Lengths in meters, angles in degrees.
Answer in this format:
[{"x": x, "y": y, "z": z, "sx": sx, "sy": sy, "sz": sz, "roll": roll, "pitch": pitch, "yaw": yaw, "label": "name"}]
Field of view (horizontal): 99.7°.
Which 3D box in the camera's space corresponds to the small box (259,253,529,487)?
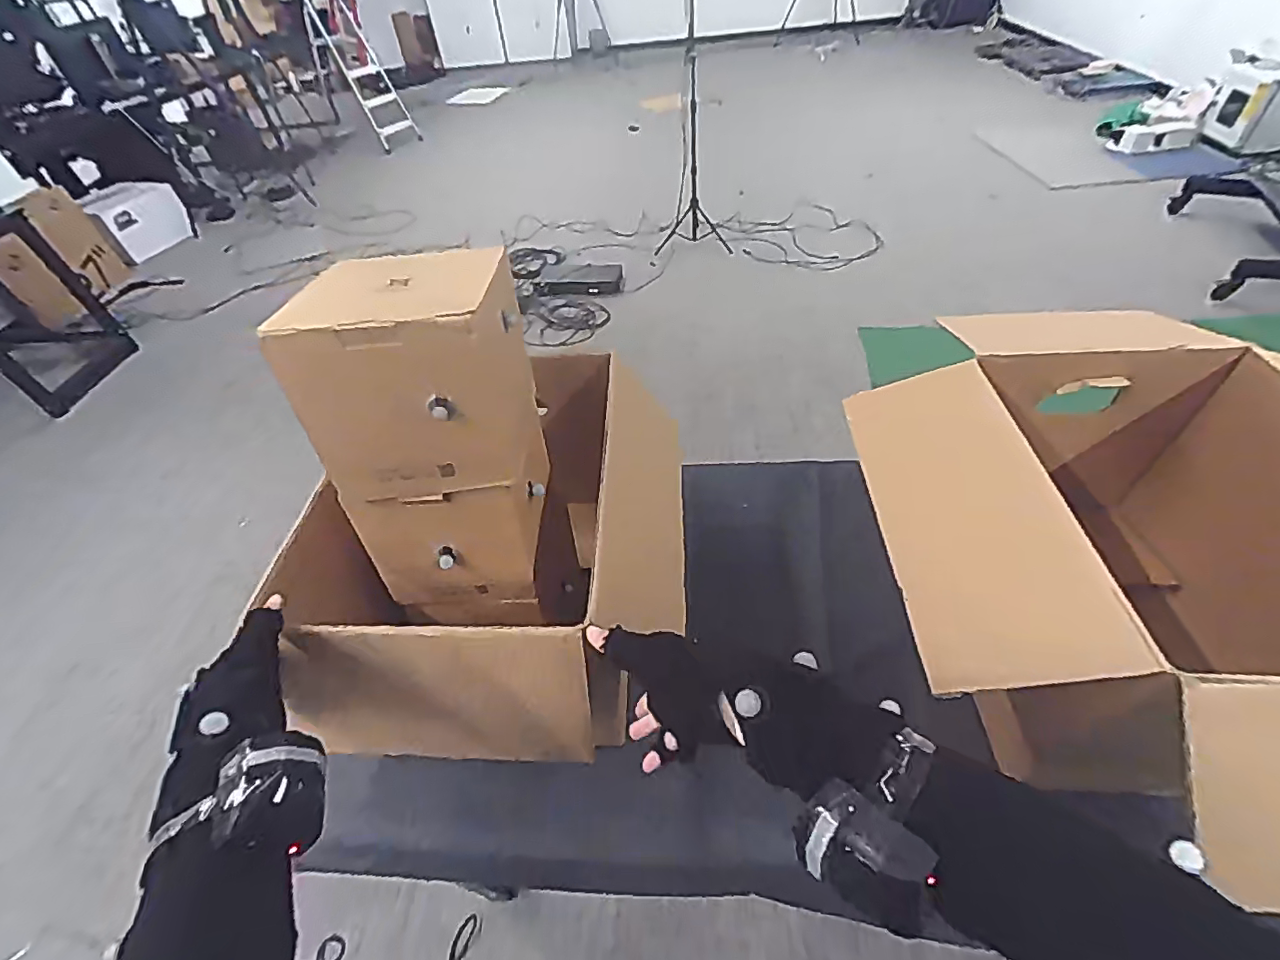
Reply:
[{"x": -0.210, "y": -0.104, "z": 0.525, "sx": 0.168, "sy": 0.176, "sz": 0.179, "roll": -4, "pitch": 38, "yaw": -1, "label": "small box"}]
